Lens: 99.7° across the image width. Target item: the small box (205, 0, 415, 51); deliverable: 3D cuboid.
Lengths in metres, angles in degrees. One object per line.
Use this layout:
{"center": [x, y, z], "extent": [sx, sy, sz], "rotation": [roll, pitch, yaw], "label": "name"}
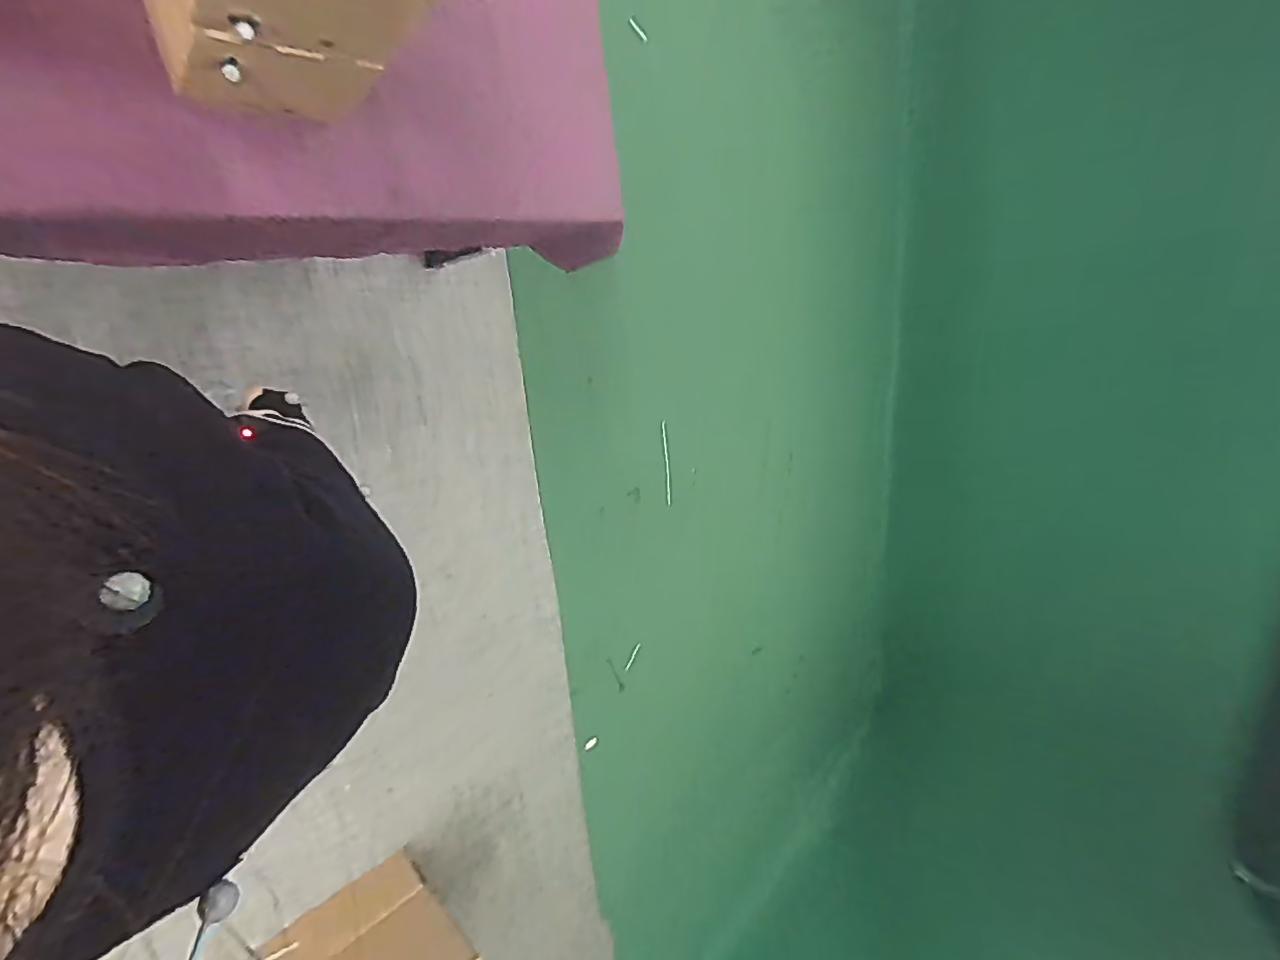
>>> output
{"center": [-0.282, -0.490, 0.434], "extent": [0.168, 0.176, 0.179], "rotation": [-25, 112, -40], "label": "small box"}
